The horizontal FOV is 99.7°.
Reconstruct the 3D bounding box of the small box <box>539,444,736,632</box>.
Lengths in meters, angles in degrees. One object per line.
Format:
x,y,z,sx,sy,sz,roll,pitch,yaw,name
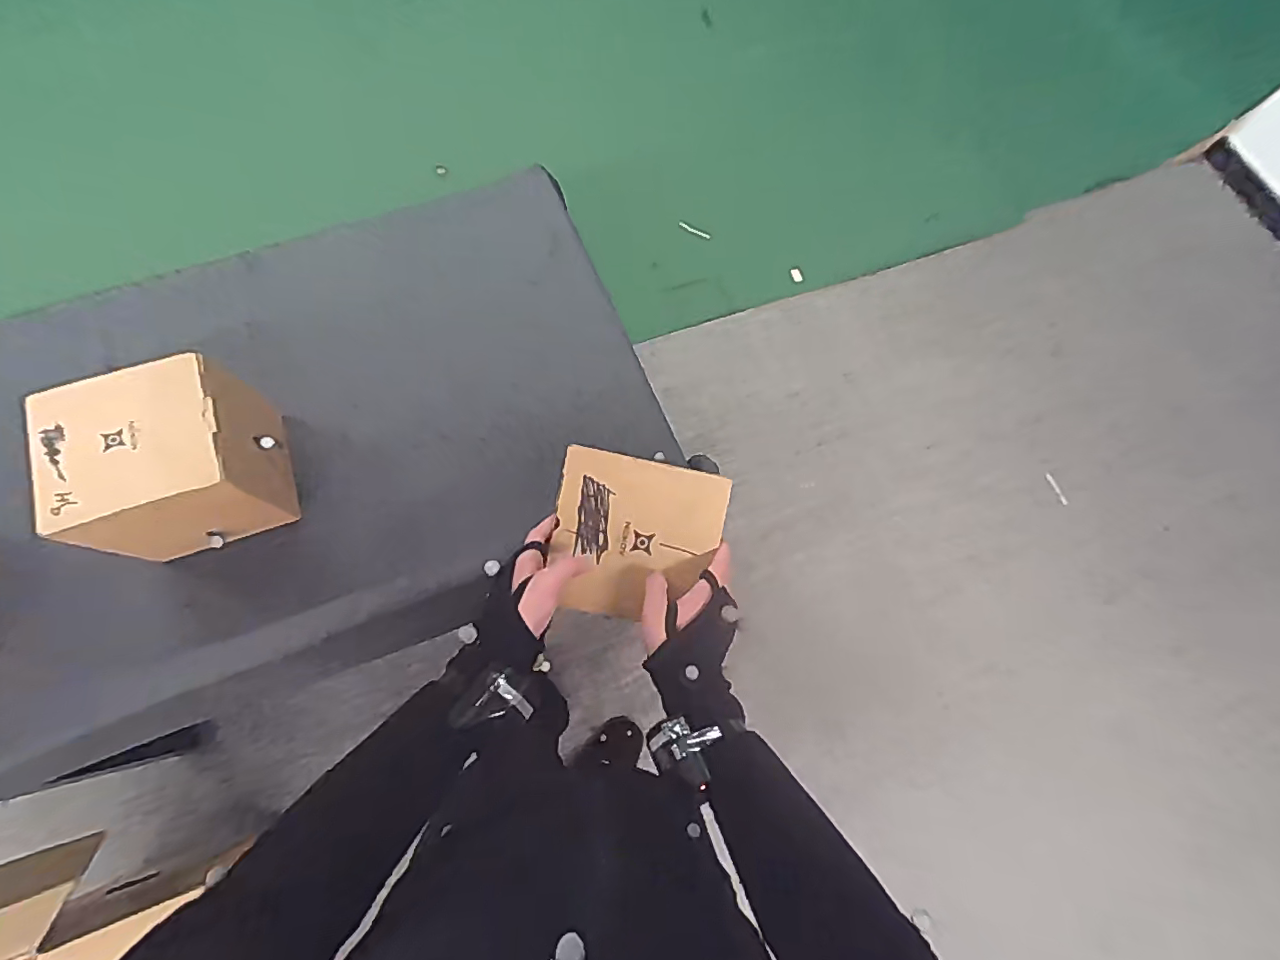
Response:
-0.002,0.062,0.634,0.179,0.176,0.168,12,89,1,small box

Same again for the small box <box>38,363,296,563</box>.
-0.550,-0.012,0.656,0.179,0.176,0.168,-19,74,-11,small box
